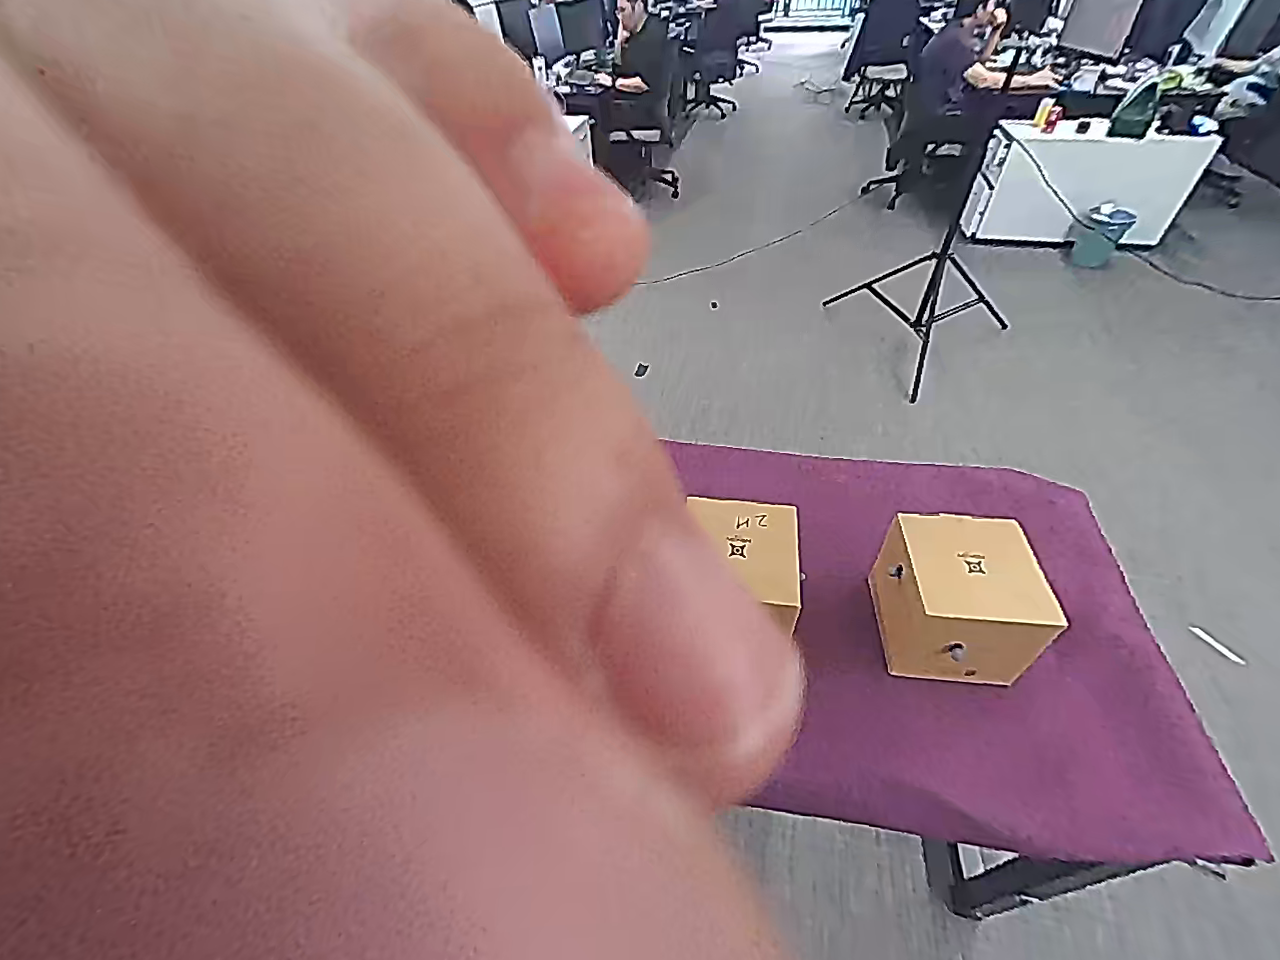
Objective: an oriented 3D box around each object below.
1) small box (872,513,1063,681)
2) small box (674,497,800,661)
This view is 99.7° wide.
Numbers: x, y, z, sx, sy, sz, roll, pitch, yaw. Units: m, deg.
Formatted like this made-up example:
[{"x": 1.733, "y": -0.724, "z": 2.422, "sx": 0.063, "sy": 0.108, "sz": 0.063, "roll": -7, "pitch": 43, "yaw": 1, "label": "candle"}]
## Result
[{"x": 0.451, "y": 0.170, "z": 0.781, "sx": 0.168, "sy": 0.176, "sz": 0.179, "roll": 3, "pitch": 44, "yaw": 7, "label": "small box"}, {"x": 0.144, "y": 0.150, "z": 0.817, "sx": 0.168, "sy": 0.176, "sz": 0.179, "roll": 6, "pitch": 46, "yaw": 8, "label": "small box"}]
